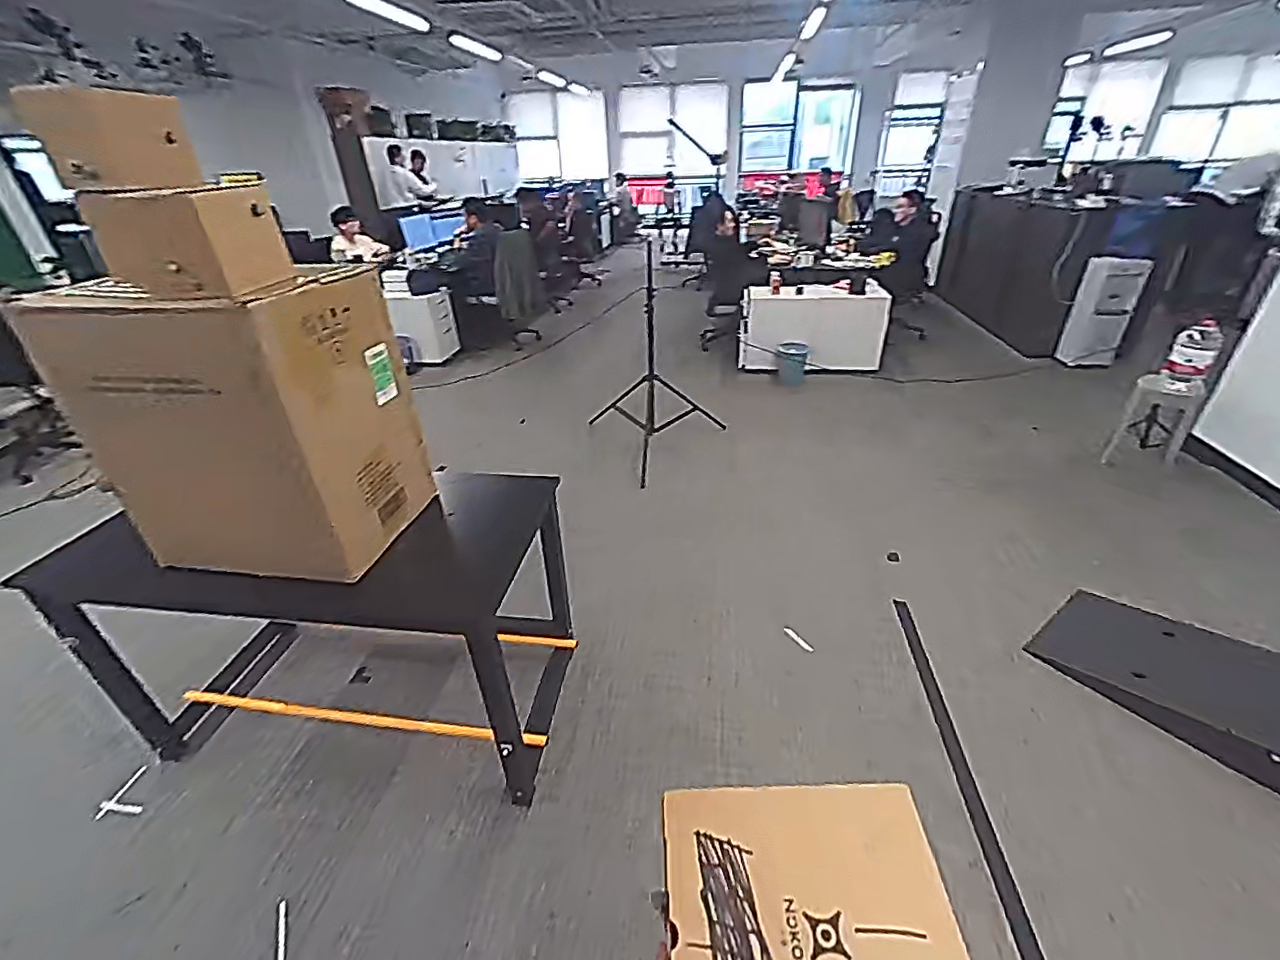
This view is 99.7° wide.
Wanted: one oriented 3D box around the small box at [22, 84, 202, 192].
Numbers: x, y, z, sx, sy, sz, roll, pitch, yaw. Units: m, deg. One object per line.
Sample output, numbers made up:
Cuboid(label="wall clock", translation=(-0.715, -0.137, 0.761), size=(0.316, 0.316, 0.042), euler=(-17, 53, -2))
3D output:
Cuboid(label="small box", translation=(-1.027, -0.673, 1.077), size=(0.168, 0.176, 0.179), euler=(4, 31, 10))

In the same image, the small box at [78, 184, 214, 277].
Cuboid(label="small box", translation=(-1.024, -0.541, 1.174), size=(0.168, 0.176, 0.179), euler=(4, 32, 8))

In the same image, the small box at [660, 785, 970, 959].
Cuboid(label="small box", translation=(0.107, 0.332, 0.370), size=(0.179, 0.176, 0.168), euler=(-2, 39, 2))

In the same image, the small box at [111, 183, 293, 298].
Cuboid(label="small box", translation=(-0.779, -0.440, 0.990), size=(0.168, 0.176, 0.179), euler=(0, 33, 7))
